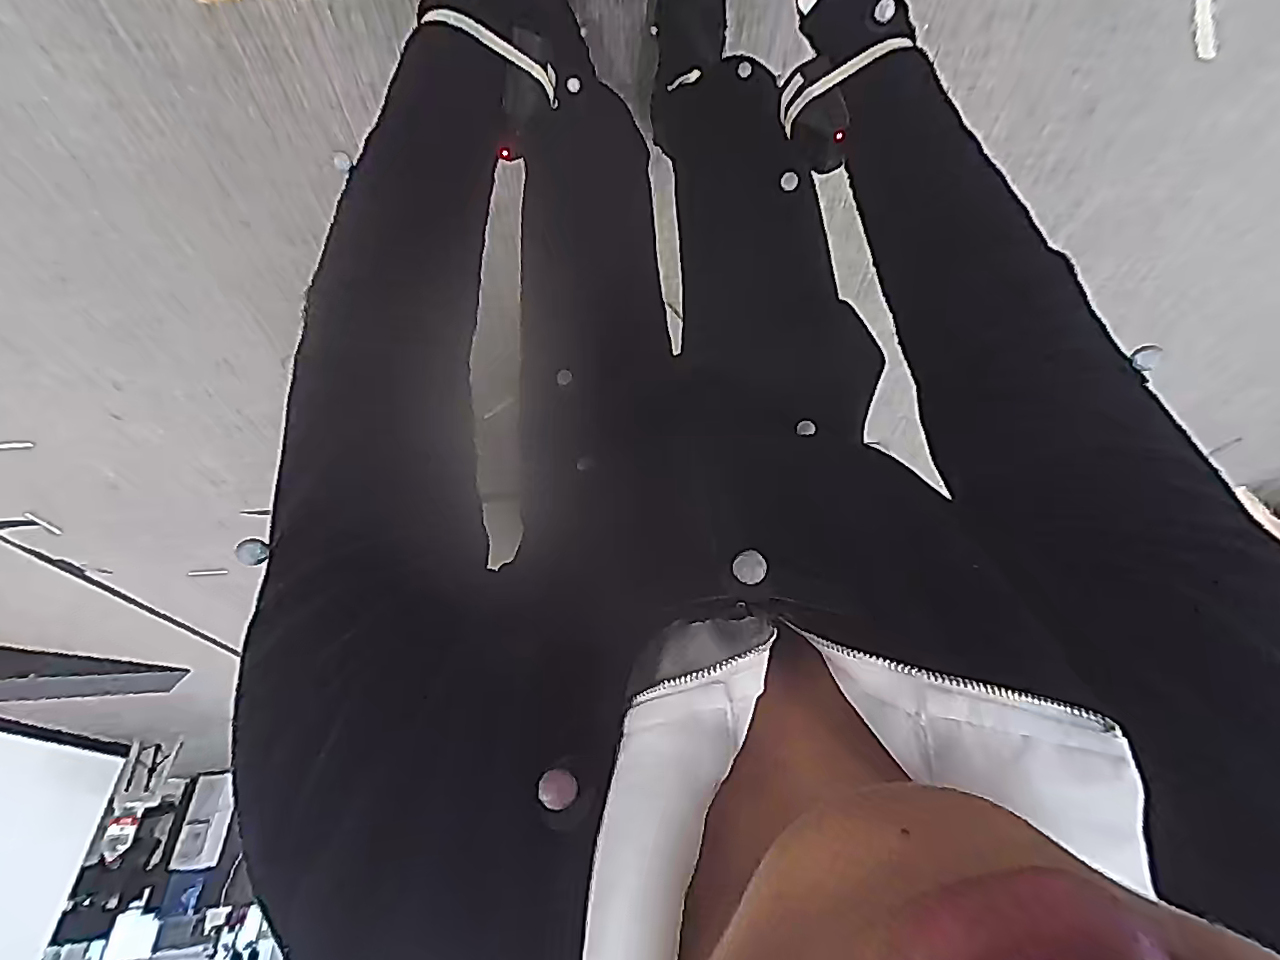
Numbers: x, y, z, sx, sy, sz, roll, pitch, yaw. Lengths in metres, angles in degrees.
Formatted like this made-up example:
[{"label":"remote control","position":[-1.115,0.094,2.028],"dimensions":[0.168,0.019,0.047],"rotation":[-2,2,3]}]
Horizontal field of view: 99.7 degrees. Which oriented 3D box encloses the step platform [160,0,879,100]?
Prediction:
[{"label":"step platform","position":[-0.108,-0.570,0.504],"dimensions":[0.684,0.204,0.286],"rotation":[-5,144,-2]}]
